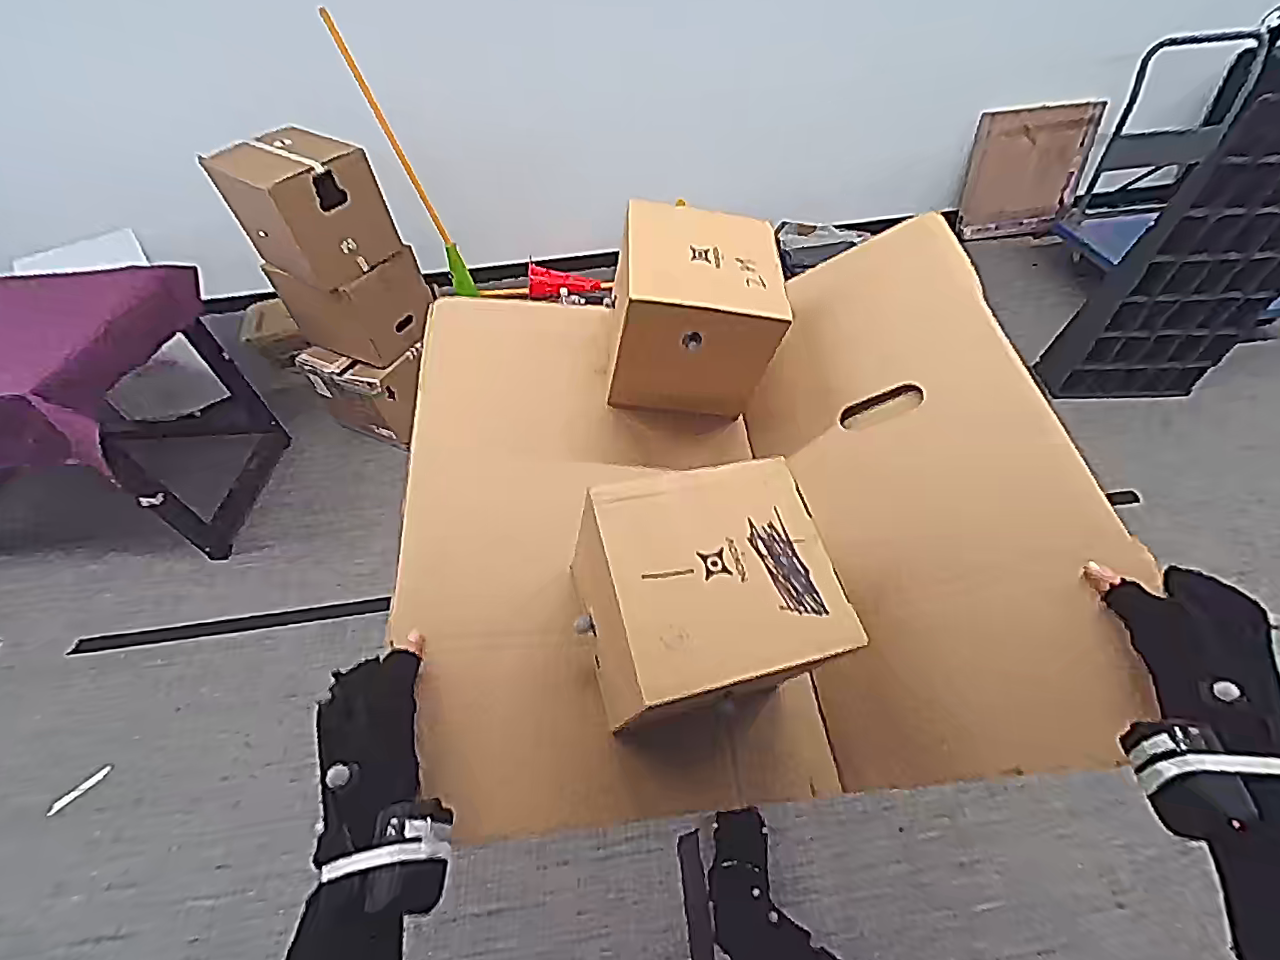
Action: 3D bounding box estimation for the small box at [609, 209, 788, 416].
[{"bbox_3d":[0.058,-0.196,0.666,0.179,0.176,0.168,6,59,-9],"label":"small box"}]

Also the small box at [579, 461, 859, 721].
[{"bbox_3d":[0.051,0.104,0.486,0.179,0.176,0.168,-9,62,-16],"label":"small box"}]
